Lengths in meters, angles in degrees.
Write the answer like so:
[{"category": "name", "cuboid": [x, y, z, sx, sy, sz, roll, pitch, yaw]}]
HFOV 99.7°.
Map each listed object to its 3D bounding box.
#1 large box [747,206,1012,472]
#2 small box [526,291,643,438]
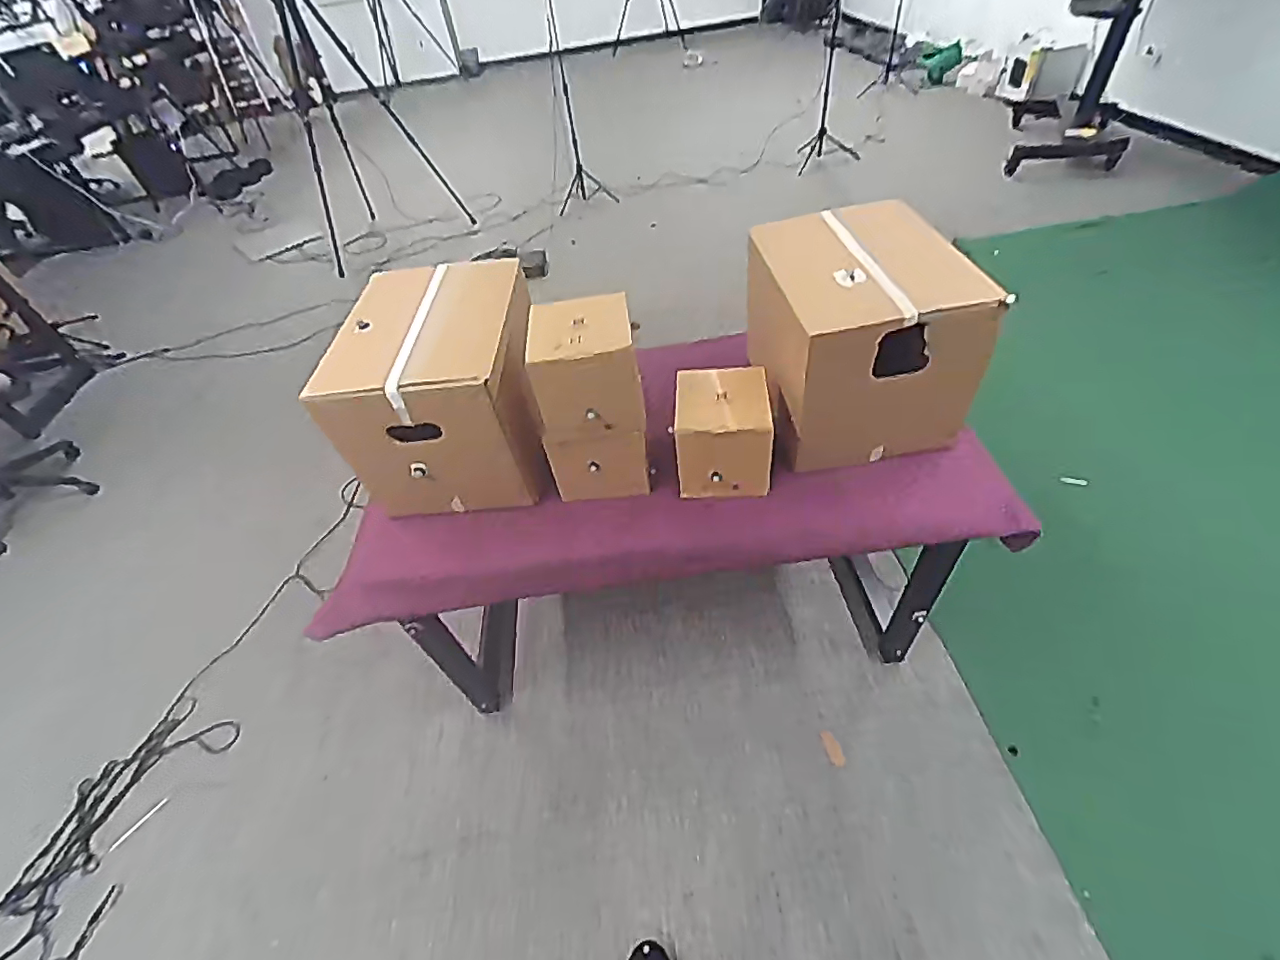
[{"category": "large box", "cuboid": [0.409, -0.280, 1.061, 0.320, 0.320, 0.408, -10, 48, 2]}, {"category": "small box", "cuboid": [-0.089, -0.196, 0.926, 0.168, 0.176, 0.179, -8, 47, 2]}]
